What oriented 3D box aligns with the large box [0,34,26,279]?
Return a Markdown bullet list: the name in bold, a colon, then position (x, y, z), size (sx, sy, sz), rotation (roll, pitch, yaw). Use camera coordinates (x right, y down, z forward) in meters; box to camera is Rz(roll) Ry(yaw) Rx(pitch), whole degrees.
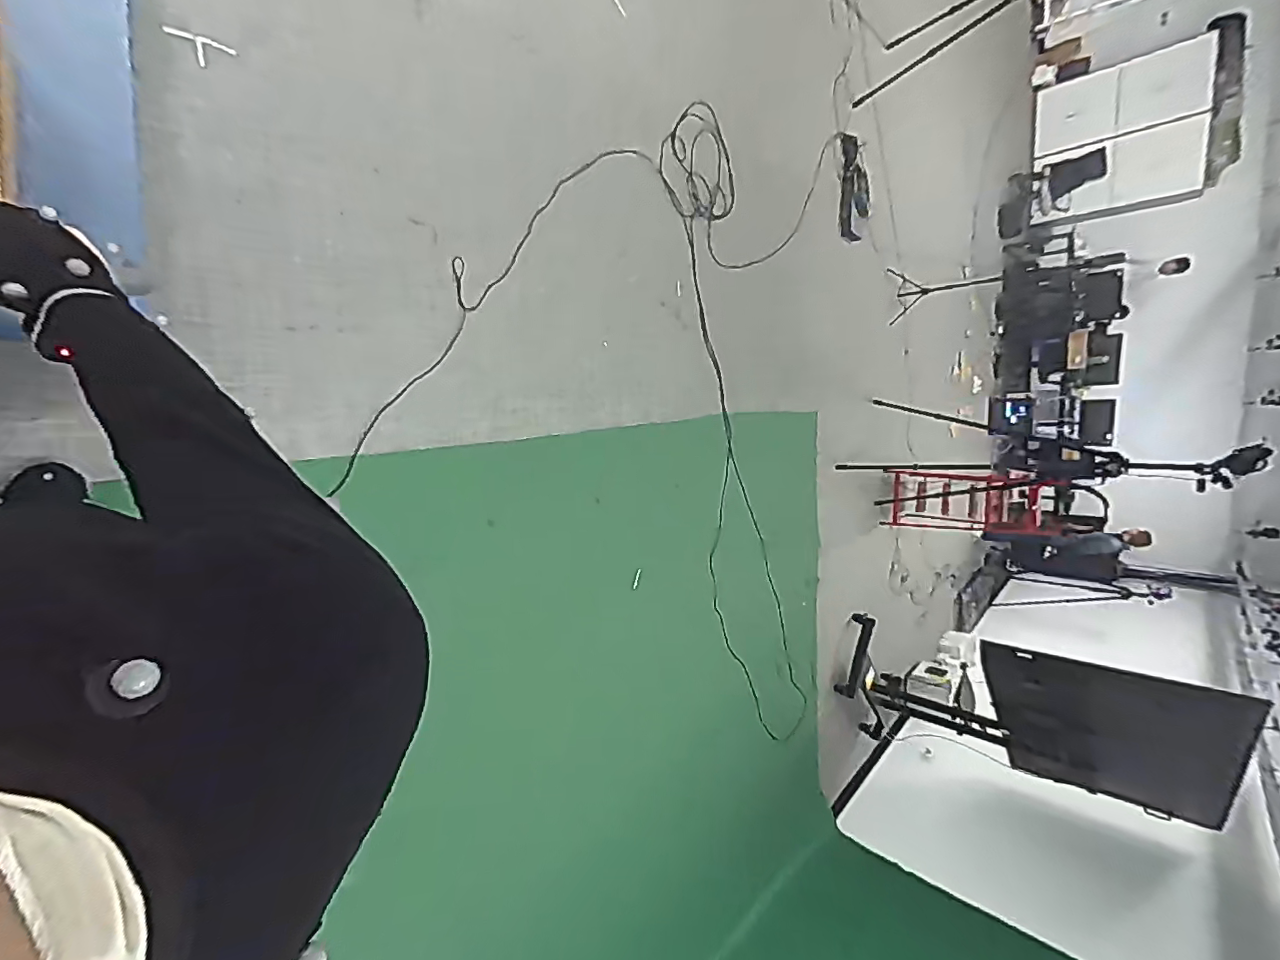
- **large box**: position (-1.102, -0.536, 0.740), size (0.320, 0.320, 0.408), rotation (-4, 94, -46)
